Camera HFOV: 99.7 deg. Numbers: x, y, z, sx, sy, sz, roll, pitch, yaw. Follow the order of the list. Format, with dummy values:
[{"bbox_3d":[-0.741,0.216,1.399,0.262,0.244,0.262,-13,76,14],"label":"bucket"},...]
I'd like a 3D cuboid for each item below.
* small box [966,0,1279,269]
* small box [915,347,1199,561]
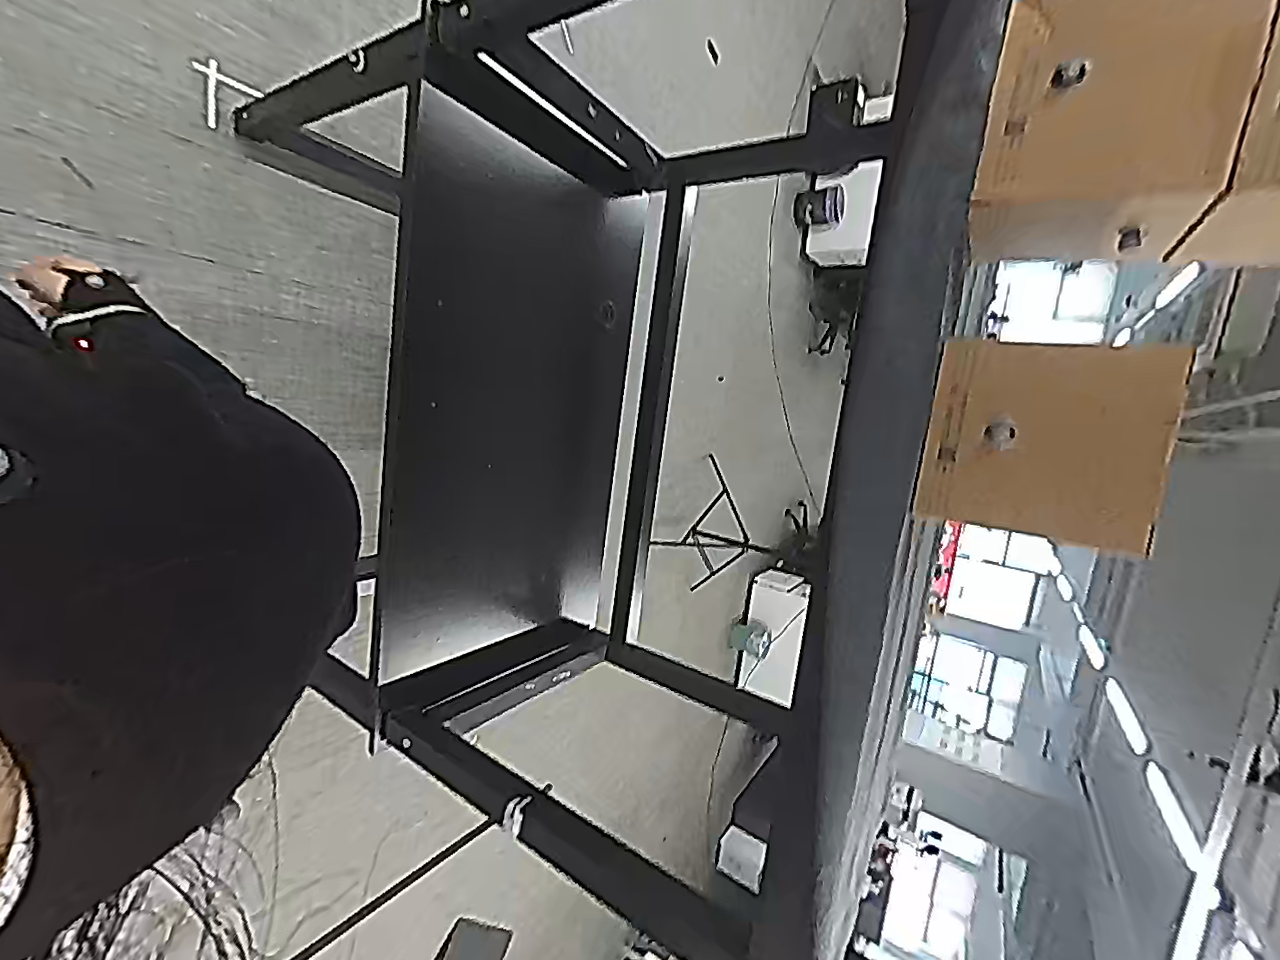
[{"bbox_3d":[0.412,-0.302,0.494,0.179,0.176,0.168,-5,105,-58],"label":"small box"},{"bbox_3d":[0.379,-0.032,0.525,0.179,0.176,0.168,-3,102,-58],"label":"small box"}]
